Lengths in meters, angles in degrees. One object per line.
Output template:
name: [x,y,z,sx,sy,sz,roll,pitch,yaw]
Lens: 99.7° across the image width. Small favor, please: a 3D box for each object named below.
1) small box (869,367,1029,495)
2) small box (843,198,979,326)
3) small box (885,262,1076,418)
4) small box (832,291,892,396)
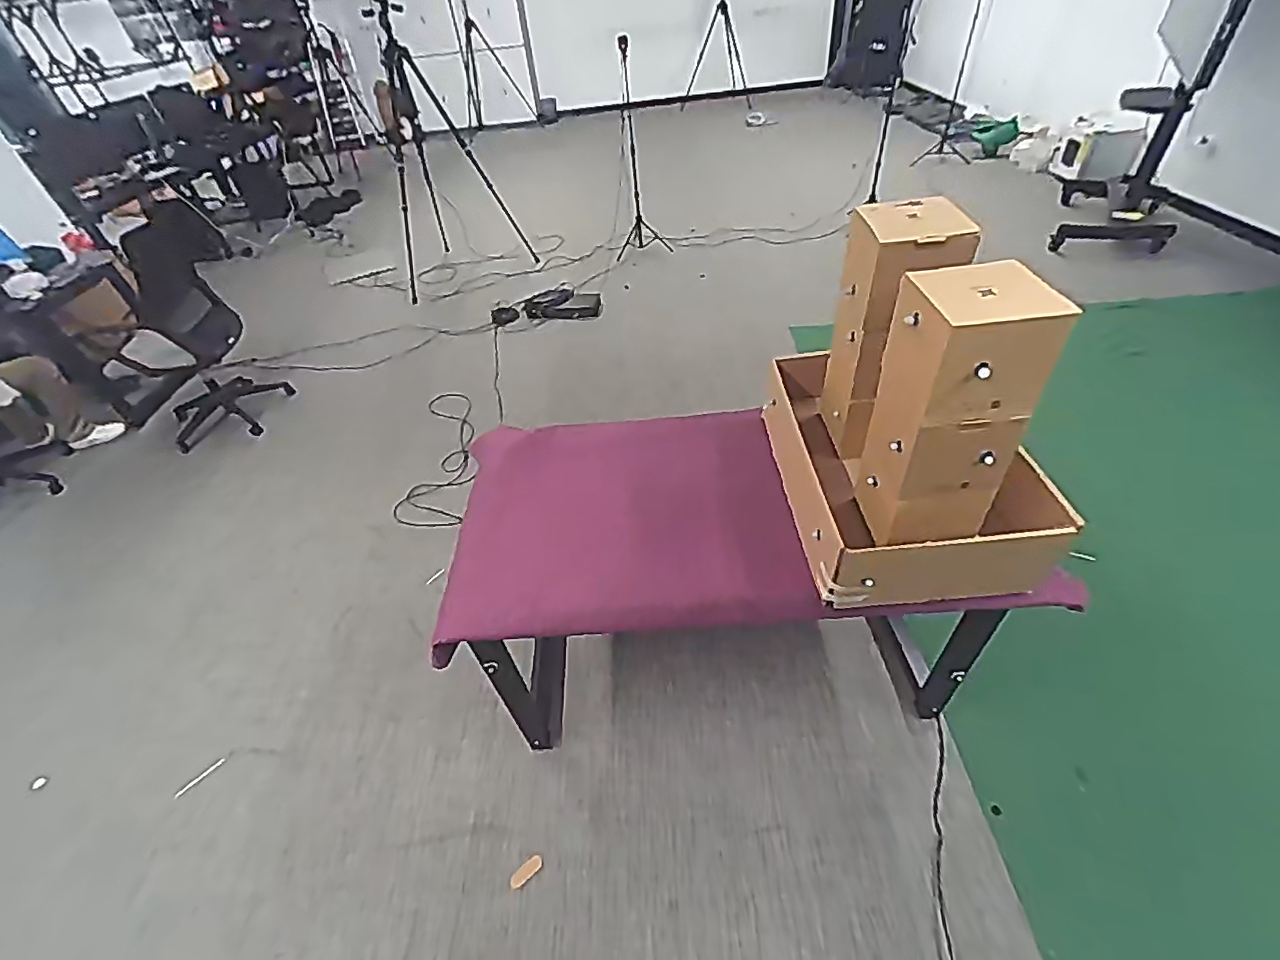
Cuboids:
small box: [0.512,-0.087,0.926,0.168,0.176,0.179,-5,42,4]
small box: [0.494,-0.402,1.015,0.168,0.176,0.179,-3,46,5]
small box: [0.494,-0.205,0.817,0.168,0.176,0.179,-5,42,4]
small box: [0.513,-0.288,1.132,0.168,0.176,0.179,-3,45,5]
